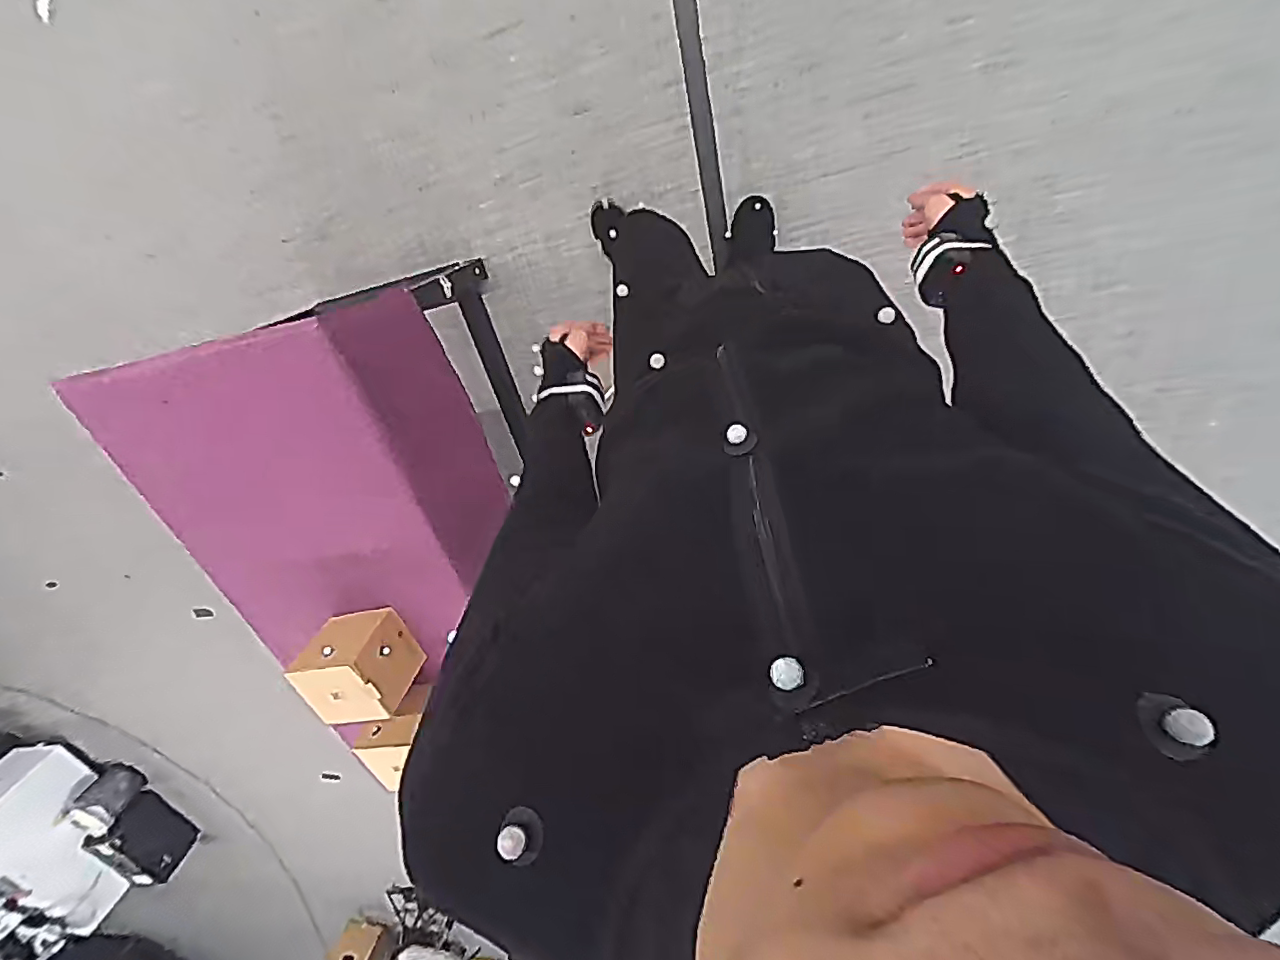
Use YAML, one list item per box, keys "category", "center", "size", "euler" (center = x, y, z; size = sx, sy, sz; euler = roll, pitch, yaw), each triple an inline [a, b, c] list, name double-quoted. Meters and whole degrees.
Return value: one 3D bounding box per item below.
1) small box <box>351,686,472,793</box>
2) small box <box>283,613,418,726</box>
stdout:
- category: "small box"
  center: [-0.540, 0.623, 1.303]
  size: [0.179, 0.176, 0.168]
  euler: [-13, 119, 15]
- category: "small box"
  center: [-0.621, 0.413, 1.193]
  size: [0.179, 0.176, 0.168]
  euler: [-11, 118, 15]
